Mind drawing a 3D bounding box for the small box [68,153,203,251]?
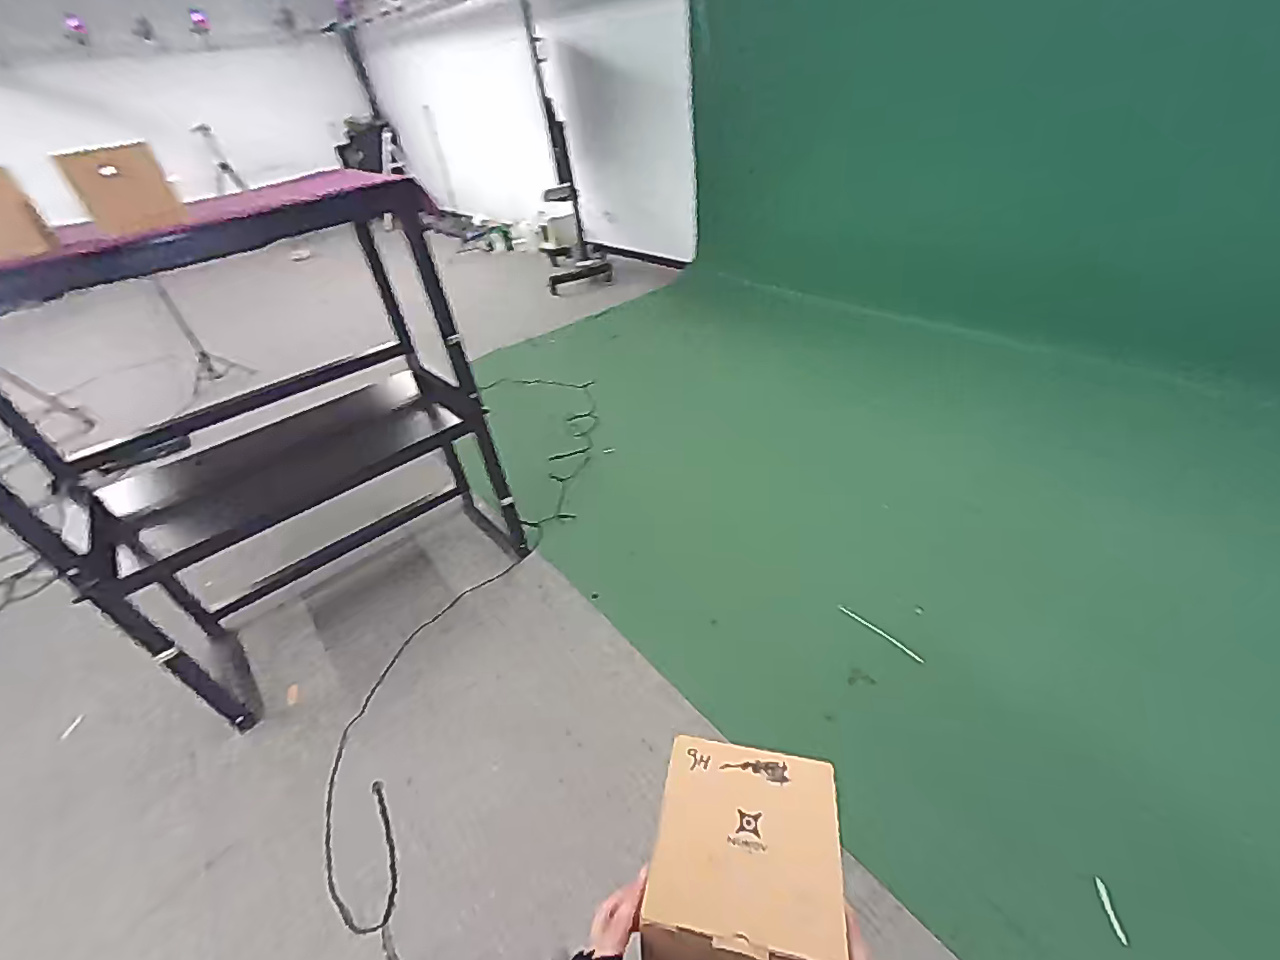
[{"bbox_3d":[-1.157,-0.647,1.255,0.179,0.176,0.168,-32,42,-28],"label":"small box"}]

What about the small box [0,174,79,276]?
[{"bbox_3d":[-1.351,-0.530,1.133,0.179,0.176,0.168,-27,40,-26],"label":"small box"}]
